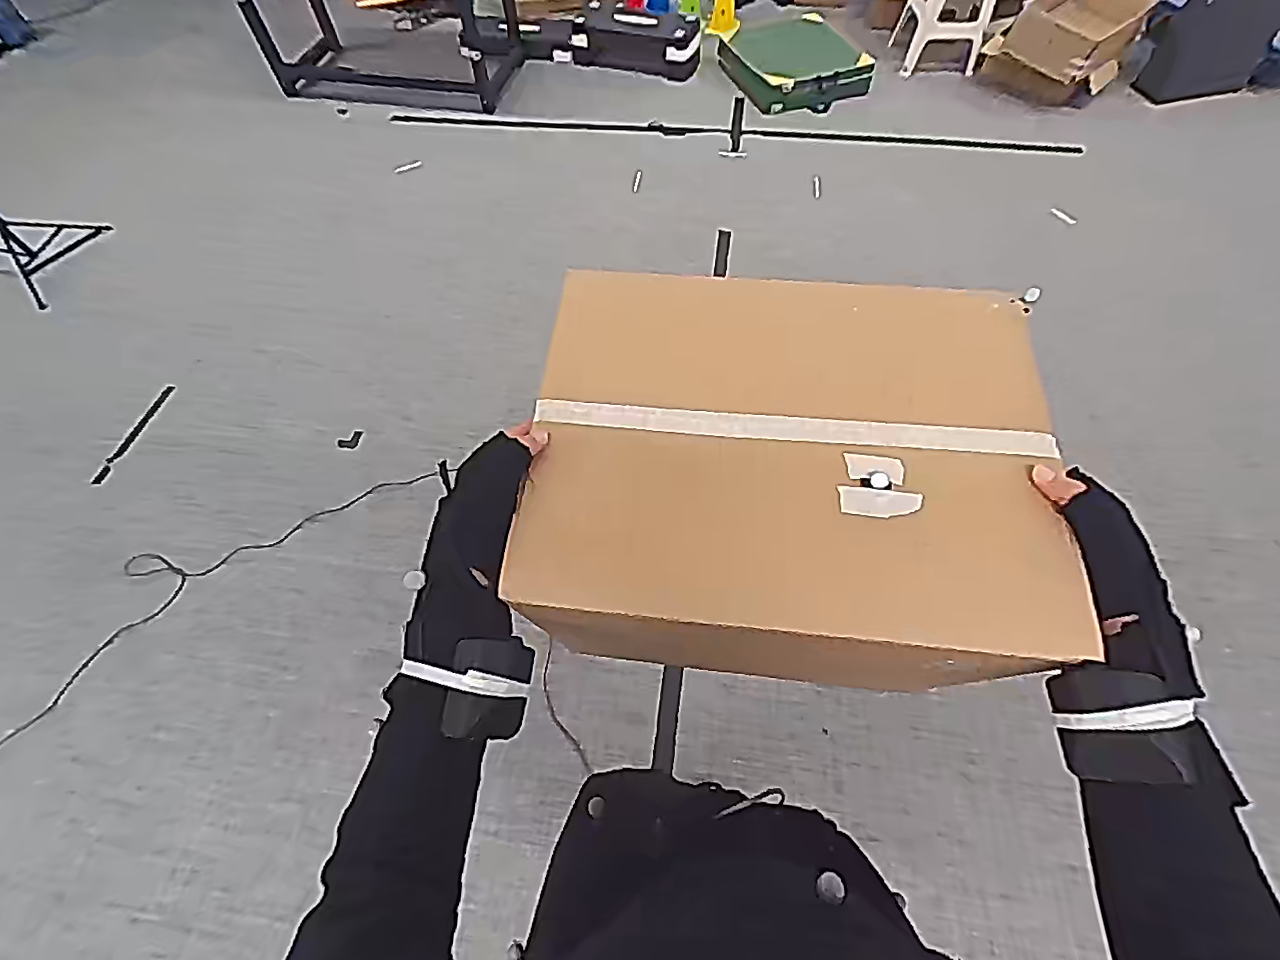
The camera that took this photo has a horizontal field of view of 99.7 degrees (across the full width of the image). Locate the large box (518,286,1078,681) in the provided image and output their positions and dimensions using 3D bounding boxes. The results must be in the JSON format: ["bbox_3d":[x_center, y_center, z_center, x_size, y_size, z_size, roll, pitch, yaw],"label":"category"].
[{"bbox_3d":[0.123,0.025,0.579,0.408,0.320,0.320,5,67,5],"label":"large box"}]
